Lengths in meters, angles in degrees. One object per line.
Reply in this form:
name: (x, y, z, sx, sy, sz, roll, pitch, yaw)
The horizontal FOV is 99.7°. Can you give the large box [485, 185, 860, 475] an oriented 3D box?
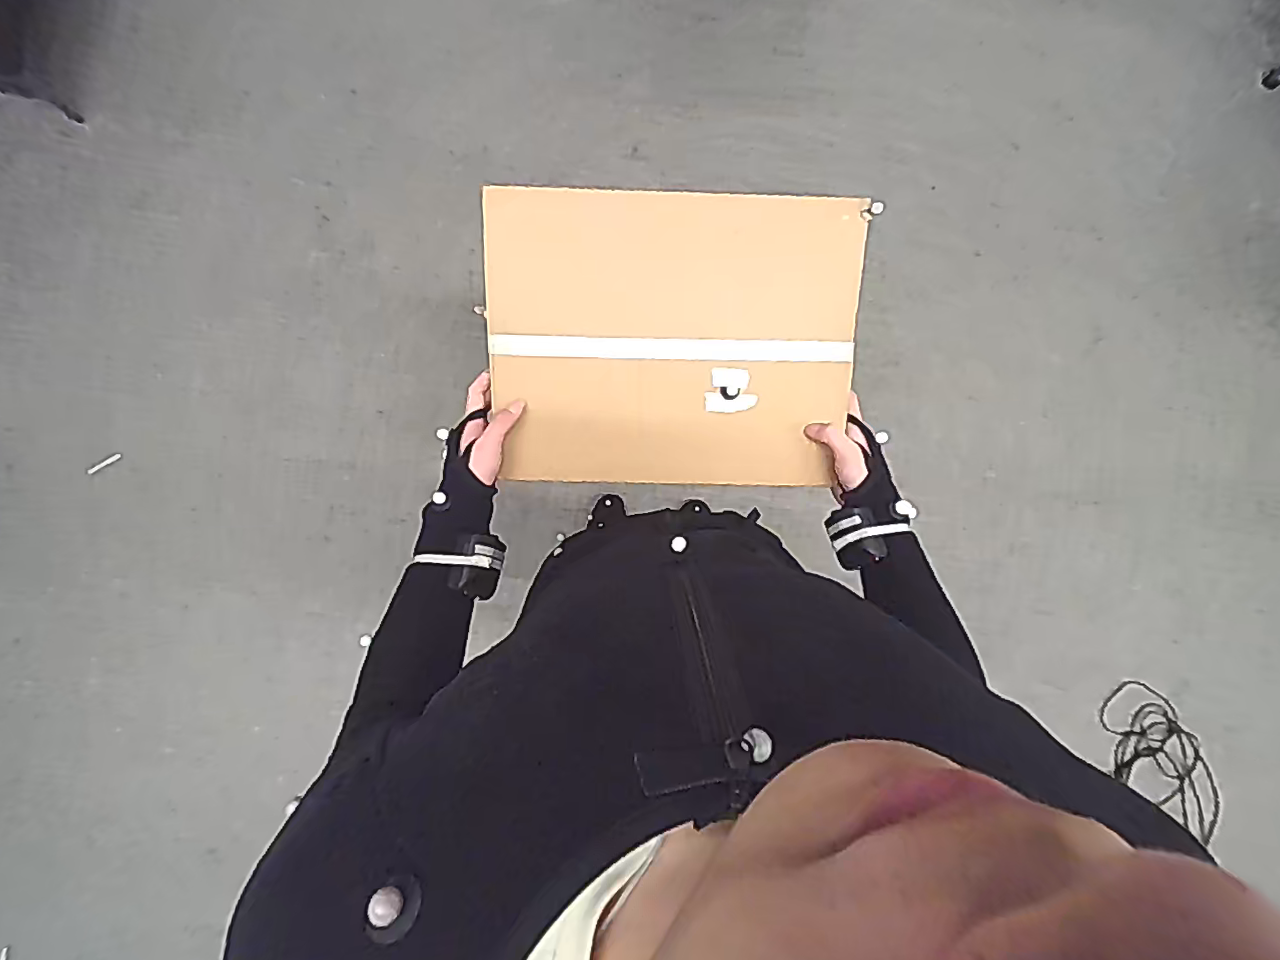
large box: (0.029, -0.196, 0.748, 0.408, 0.320, 0.320, 0, 106, -3)
